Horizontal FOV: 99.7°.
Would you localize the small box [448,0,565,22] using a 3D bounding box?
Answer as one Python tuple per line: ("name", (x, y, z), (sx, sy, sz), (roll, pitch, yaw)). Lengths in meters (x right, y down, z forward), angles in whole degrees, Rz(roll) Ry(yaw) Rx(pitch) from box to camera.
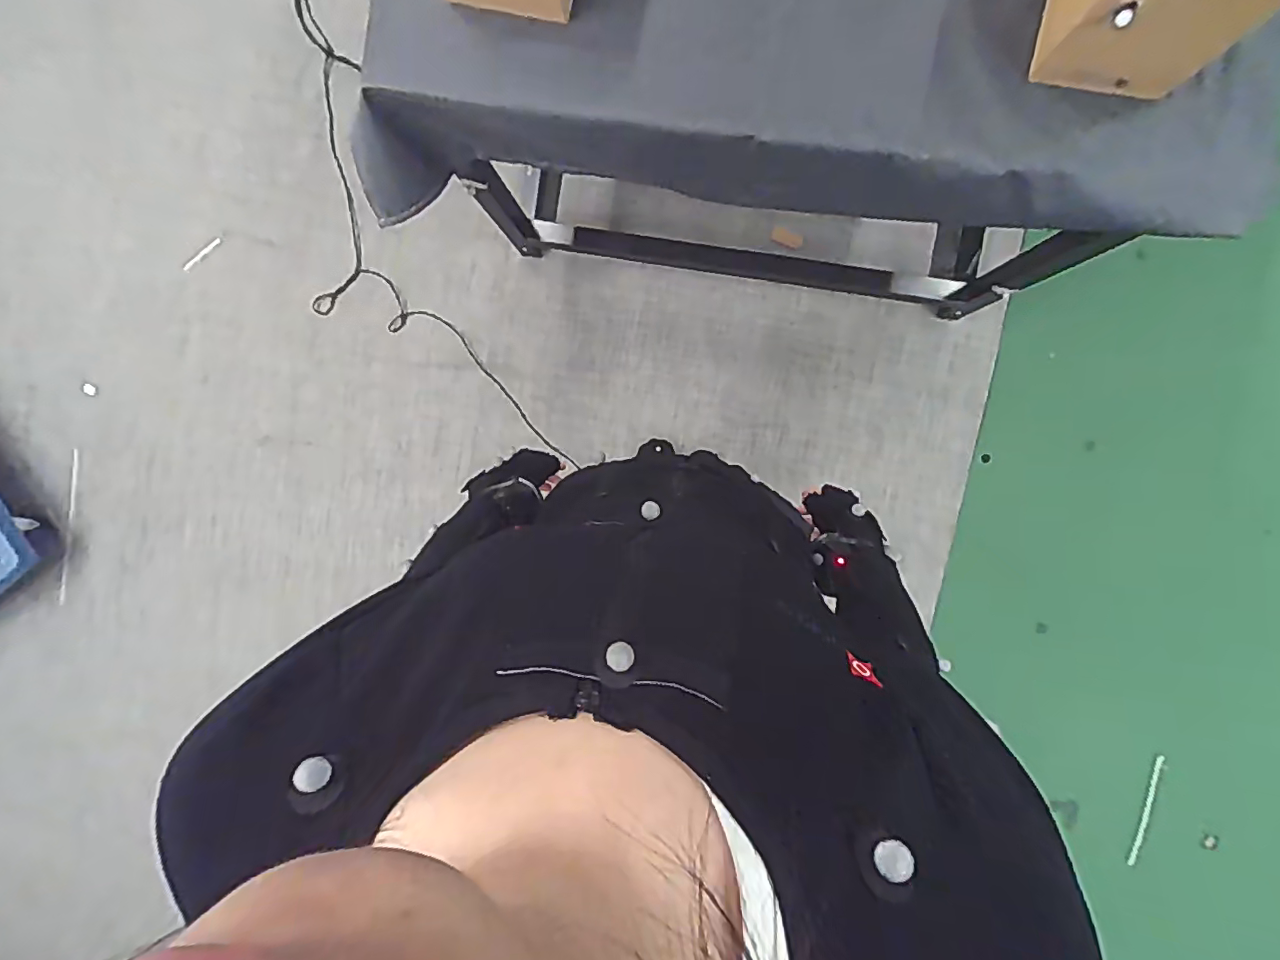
("small box", (-0.172, -0.709, 0.654), (0.179, 0.176, 0.168), (13, 94, 3))
